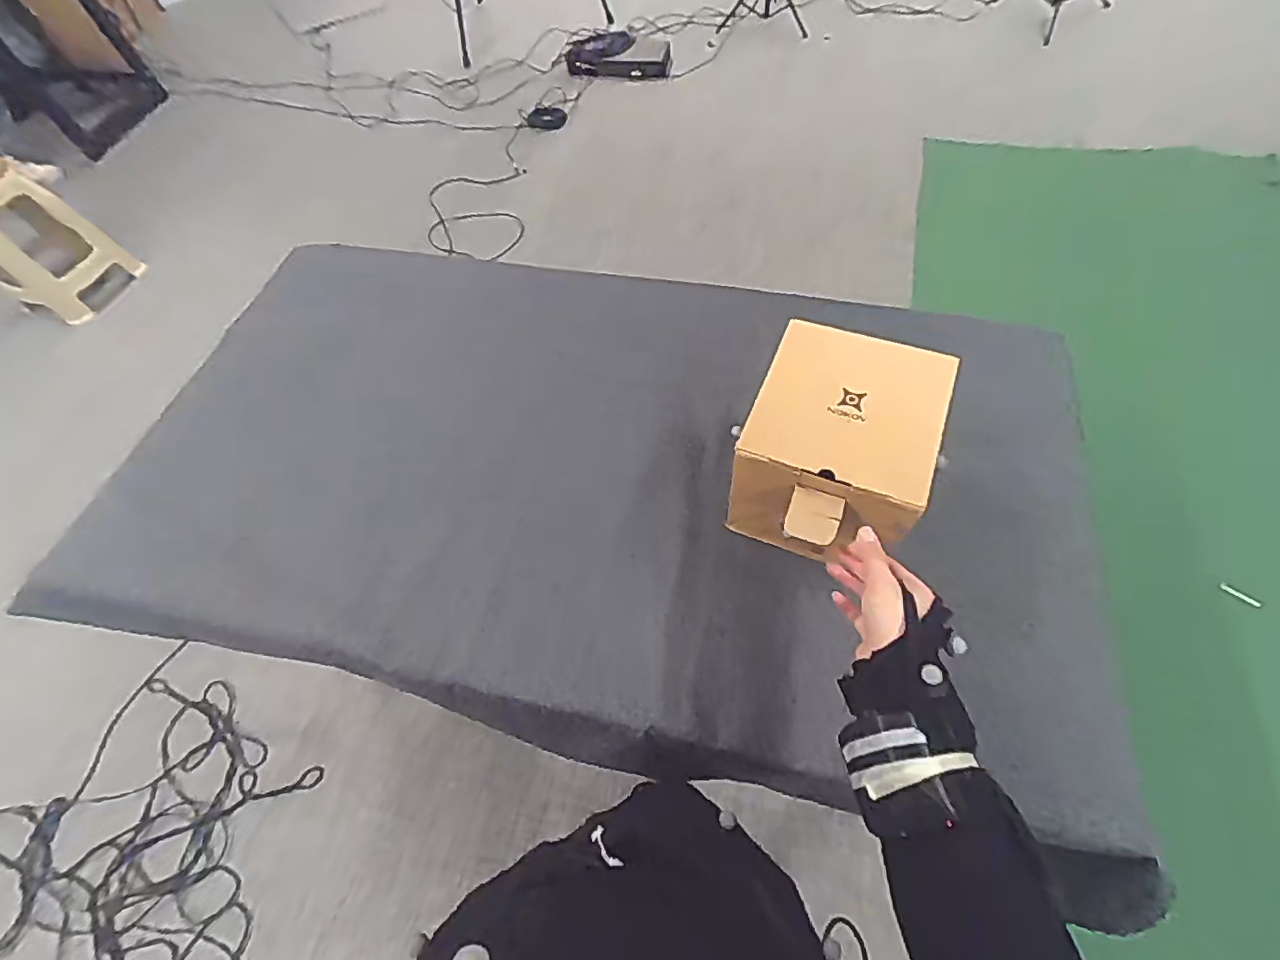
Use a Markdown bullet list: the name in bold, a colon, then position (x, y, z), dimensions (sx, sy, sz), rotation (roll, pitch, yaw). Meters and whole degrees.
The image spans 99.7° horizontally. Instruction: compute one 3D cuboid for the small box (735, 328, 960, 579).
- **small box**: position (0.205, -0.023, 0.571), dimensions (0.168, 0.176, 0.179), rotation (19, 64, 16)
